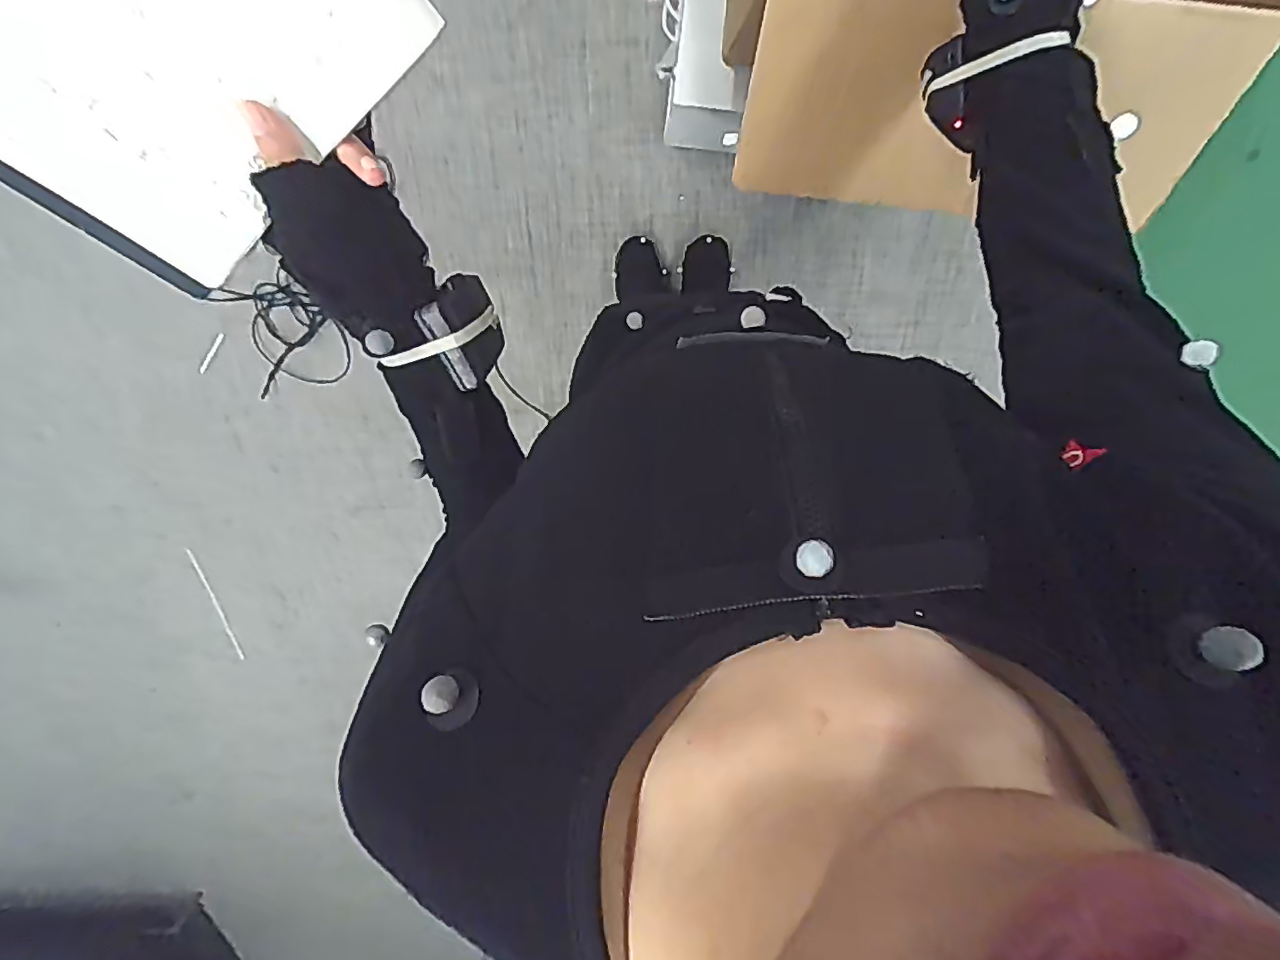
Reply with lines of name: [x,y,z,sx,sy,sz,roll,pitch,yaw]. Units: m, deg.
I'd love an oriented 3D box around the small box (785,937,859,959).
small box: [0.445,1.229,1.283,0.168,0.176,0.179,-2,117,1]
